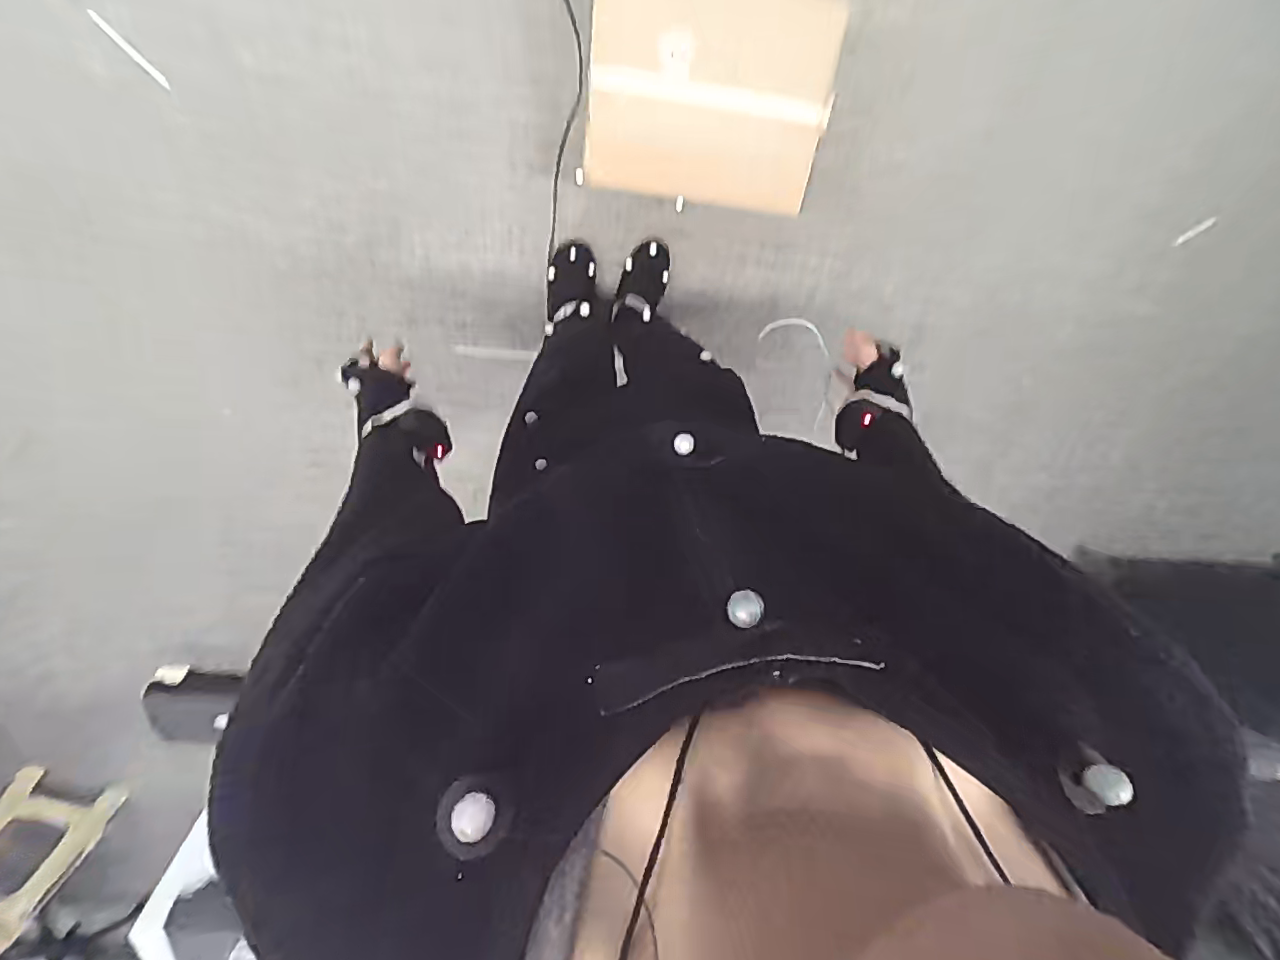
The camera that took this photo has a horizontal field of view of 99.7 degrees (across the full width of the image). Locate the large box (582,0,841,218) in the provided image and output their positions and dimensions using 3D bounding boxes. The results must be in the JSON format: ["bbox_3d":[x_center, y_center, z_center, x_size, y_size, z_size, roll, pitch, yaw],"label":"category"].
[{"bbox_3d":[0.104,-0.710,1.046,0.408,0.320,0.320,5,118,-7],"label":"large box"}]
